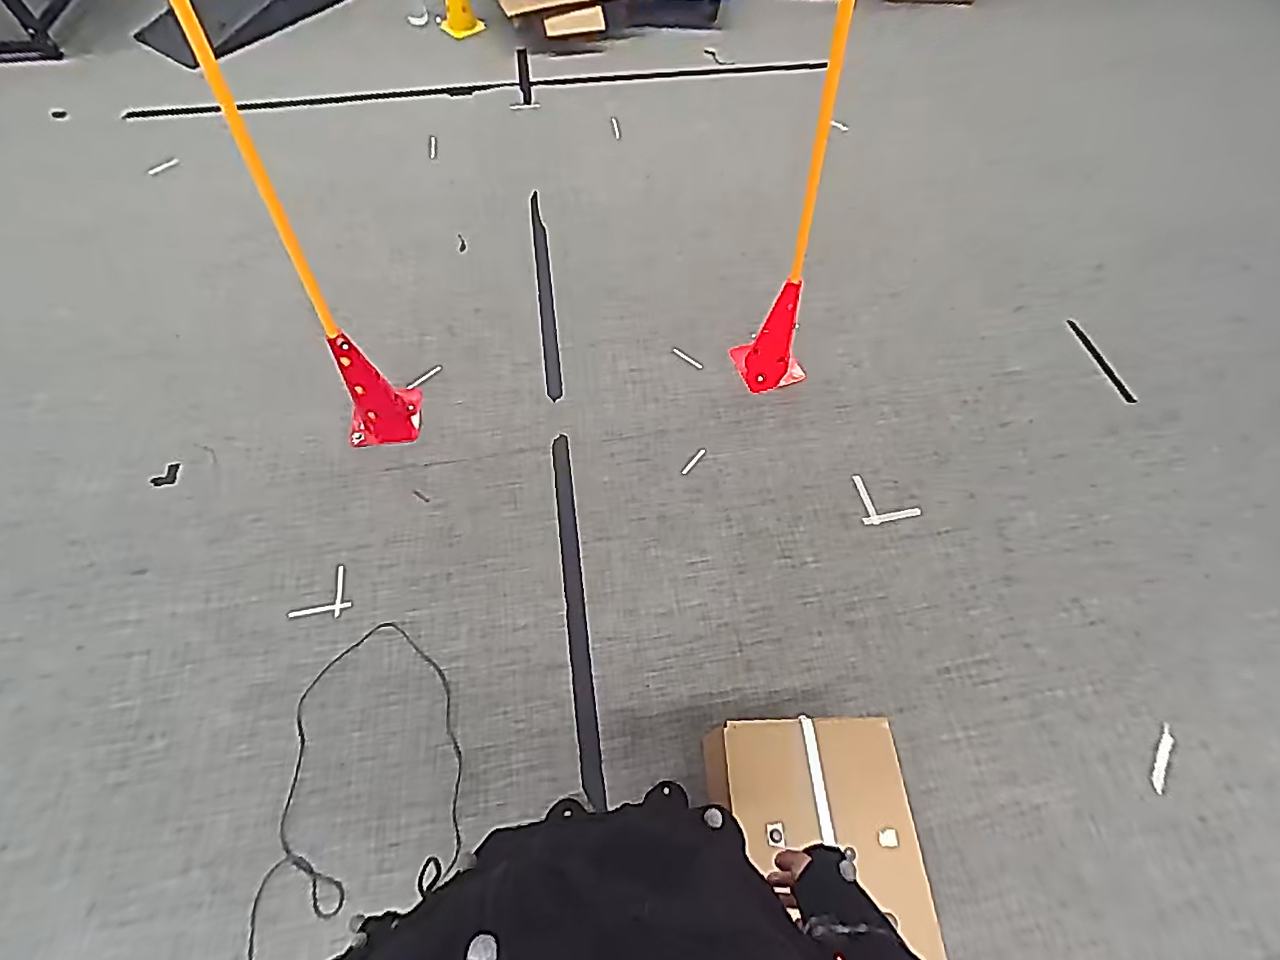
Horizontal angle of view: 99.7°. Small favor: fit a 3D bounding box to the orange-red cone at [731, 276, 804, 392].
[{"bbox_3d":[0.423,-0.460,1.621,0.199,0.360,0.198,-15,64,-11],"label":"orange-red cone"}]
